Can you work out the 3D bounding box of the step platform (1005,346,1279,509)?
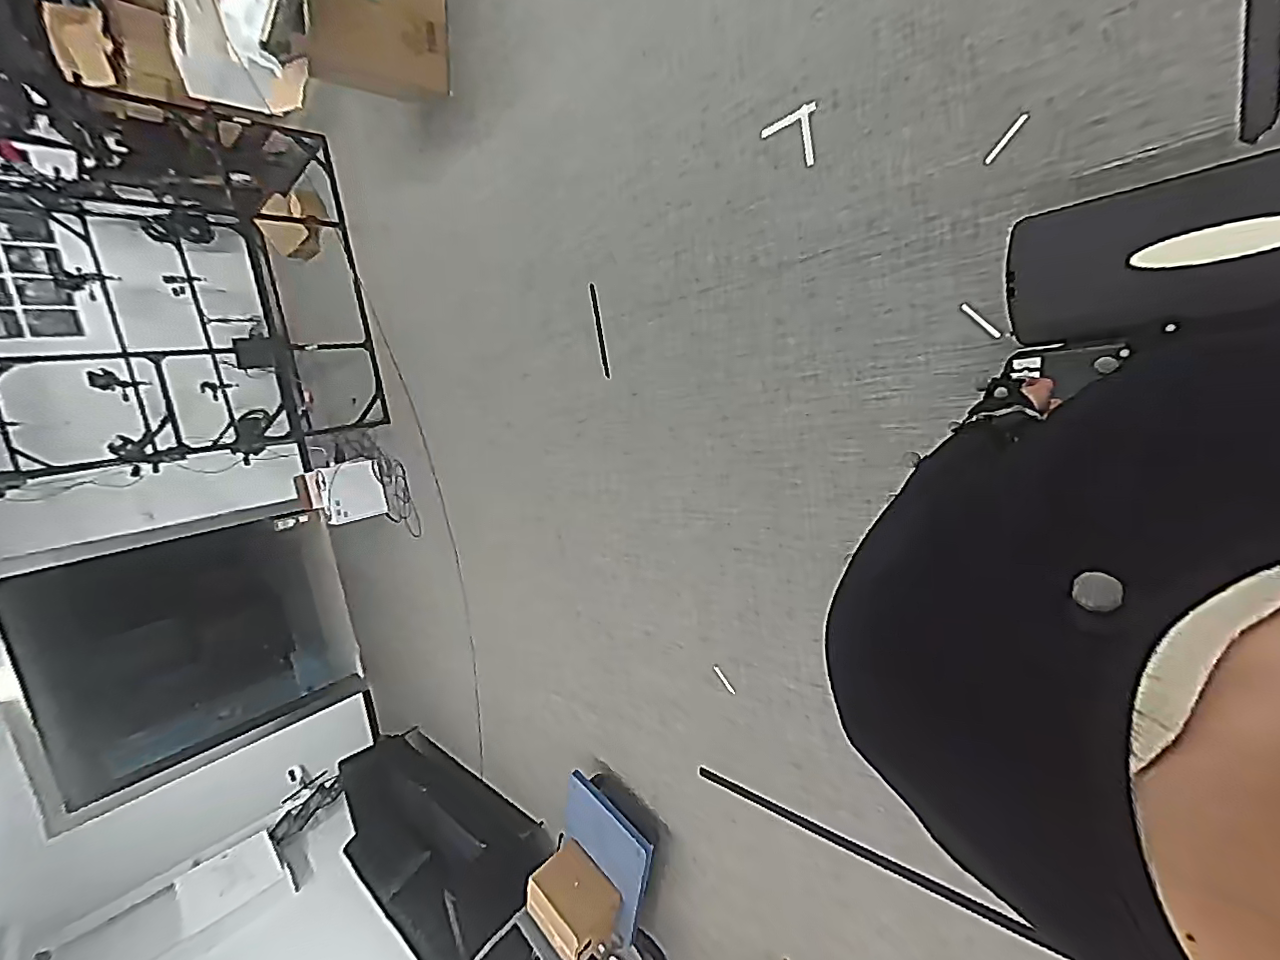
[{"bbox_3d":[1.101,-0.106,1.021,0.684,0.204,0.286,8,106,45],"label":"step platform"}]
